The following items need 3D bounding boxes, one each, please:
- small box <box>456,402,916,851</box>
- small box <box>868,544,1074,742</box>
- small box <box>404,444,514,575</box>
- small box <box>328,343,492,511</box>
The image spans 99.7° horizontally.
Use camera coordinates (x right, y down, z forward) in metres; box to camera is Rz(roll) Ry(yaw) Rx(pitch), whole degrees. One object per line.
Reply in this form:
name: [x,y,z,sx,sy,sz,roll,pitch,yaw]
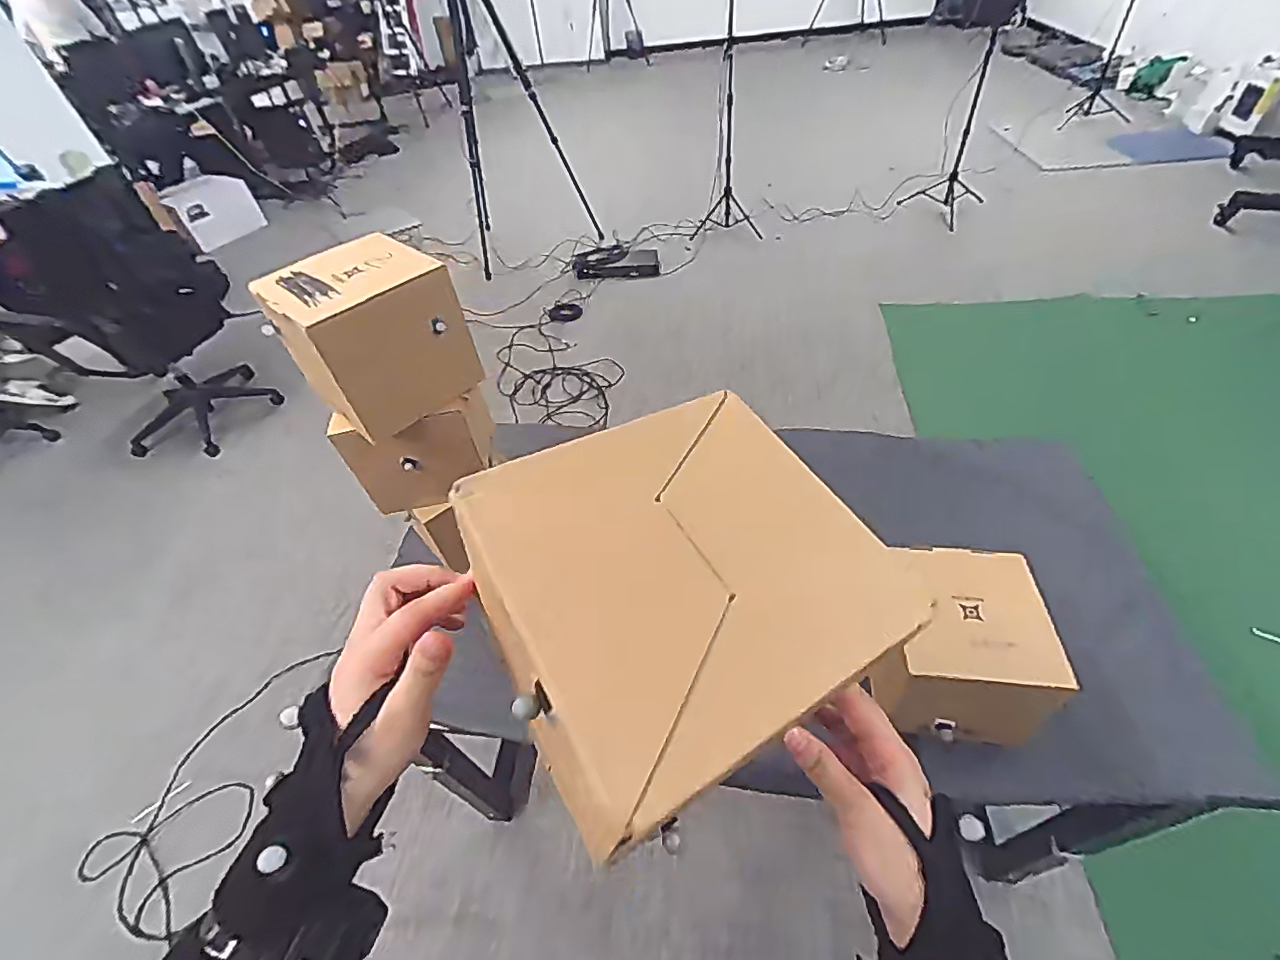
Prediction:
small box: [0.014,0.079,0.315,0.179,0.176,0.168,-23,59,-23]
small box: [0.387,0.204,0.682,0.168,0.176,0.179,1,46,10]
small box: [-0.313,0.031,0.941,0.168,0.176,0.179,-37,53,-24]
small box: [-0.329,-0.077,0.818,0.179,0.176,0.168,-13,48,-3]
